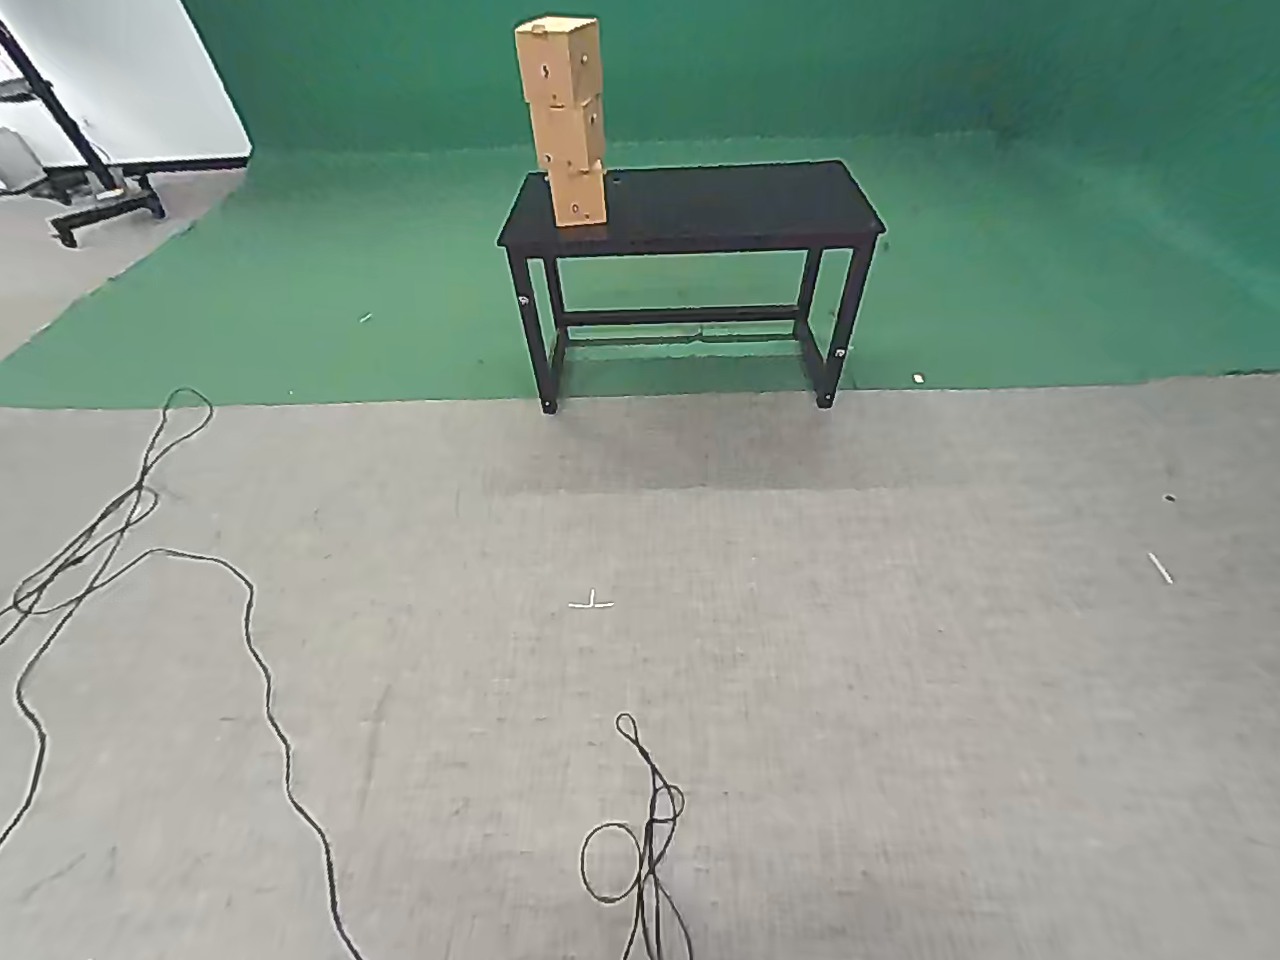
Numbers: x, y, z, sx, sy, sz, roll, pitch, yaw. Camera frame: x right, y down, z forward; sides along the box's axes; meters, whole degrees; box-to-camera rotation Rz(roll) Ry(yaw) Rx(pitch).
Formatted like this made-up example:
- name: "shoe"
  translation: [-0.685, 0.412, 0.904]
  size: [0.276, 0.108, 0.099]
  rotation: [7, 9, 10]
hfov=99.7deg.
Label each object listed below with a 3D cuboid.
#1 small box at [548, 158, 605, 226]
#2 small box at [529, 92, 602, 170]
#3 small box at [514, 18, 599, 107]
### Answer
- name: "small box"
  translation: [-0.208, -0.951, 1.764]
  size: [0.168, 0.176, 0.179]
  rotation: [-7, 49, -4]
- name: "small box"
  translation: [-0.218, -1.061, 1.642]
  size: [0.168, 0.176, 0.179]
  rotation: [10, 49, 11]
- name: "small box"
  translation: [-0.226, -1.176, 1.525]
  size: [0.168, 0.176, 0.179]
  rotation: [18, 53, 17]
